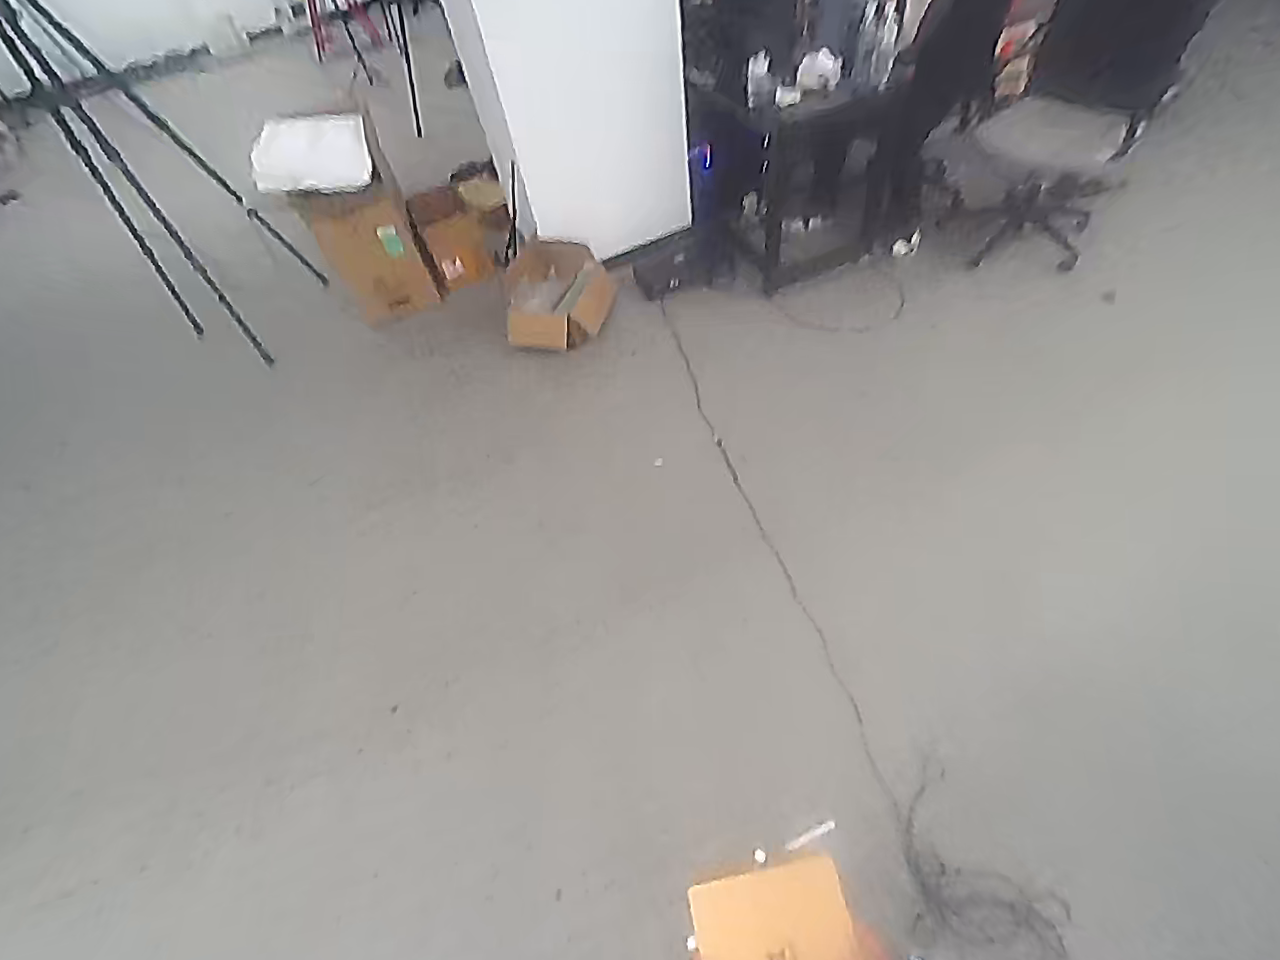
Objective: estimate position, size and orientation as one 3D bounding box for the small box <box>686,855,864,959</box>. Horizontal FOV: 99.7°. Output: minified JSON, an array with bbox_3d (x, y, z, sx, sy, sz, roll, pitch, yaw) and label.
[{"bbox_3d":[0.159,0.561,0.638,0.179,0.176,0.168,-12,58,-1],"label":"small box"}]
